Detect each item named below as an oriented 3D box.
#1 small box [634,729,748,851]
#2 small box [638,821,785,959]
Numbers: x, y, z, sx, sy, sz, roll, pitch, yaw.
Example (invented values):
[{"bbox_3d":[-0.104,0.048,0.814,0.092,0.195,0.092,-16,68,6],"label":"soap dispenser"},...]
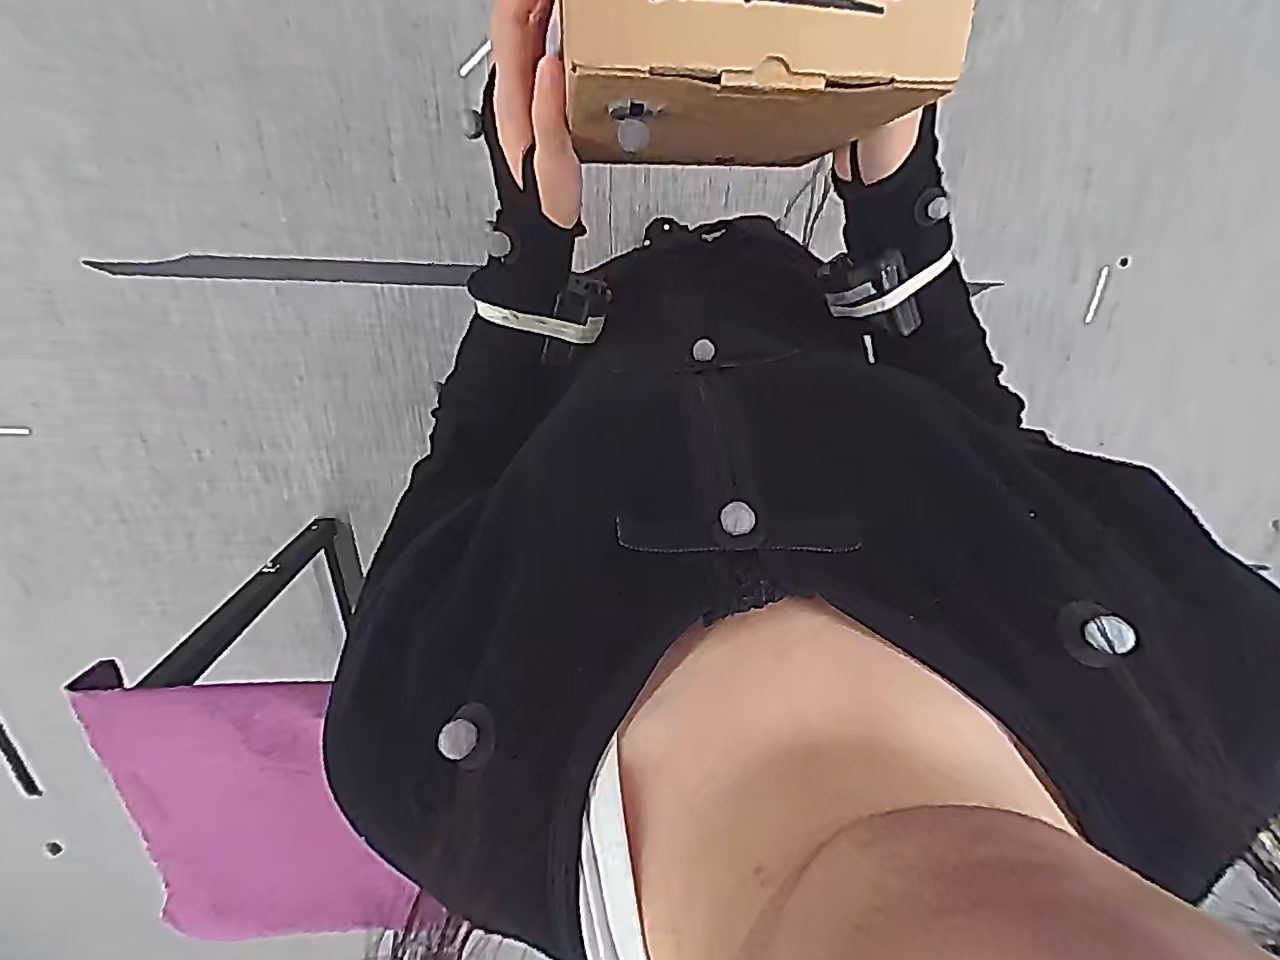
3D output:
[{"bbox_3d":[0.076,0.549,0.906,0.168,0.176,0.179,-3,113,-3],"label":"small box"},{"bbox_3d":[0.088,0.614,0.758,0.179,0.176,0.168,-4,115,-3],"label":"small box"}]
